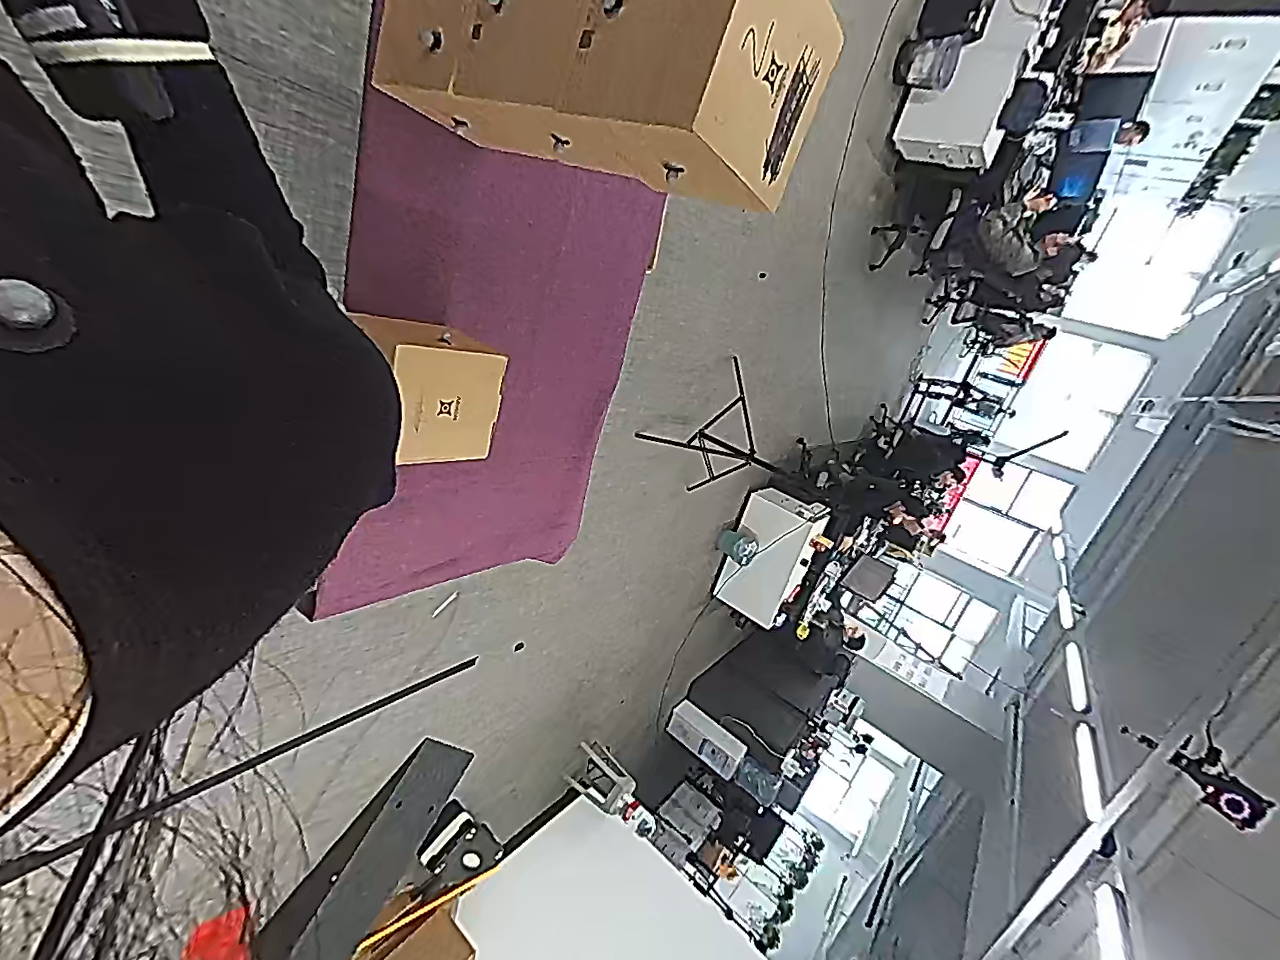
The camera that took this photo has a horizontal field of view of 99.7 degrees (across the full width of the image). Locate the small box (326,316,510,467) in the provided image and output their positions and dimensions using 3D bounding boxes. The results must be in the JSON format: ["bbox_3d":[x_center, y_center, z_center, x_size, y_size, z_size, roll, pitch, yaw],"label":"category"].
[{"bbox_3d":[-0.326,-0.132,0.795,0.179,0.176,0.168,-9,121,-52],"label":"small box"}]

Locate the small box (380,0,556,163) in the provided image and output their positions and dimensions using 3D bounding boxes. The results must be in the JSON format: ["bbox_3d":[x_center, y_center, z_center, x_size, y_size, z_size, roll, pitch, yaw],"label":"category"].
[{"bbox_3d":[-0.191,-0.526,0.663,0.168,0.176,0.179,-4,118,-56],"label":"small box"}]

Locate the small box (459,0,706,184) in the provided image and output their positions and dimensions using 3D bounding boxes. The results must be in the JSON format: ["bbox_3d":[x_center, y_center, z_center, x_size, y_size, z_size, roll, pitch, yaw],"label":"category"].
[{"bbox_3d":[-0.062,-0.454,0.589,0.179,0.176,0.168,-5,119,-54],"label":"small box"}]
